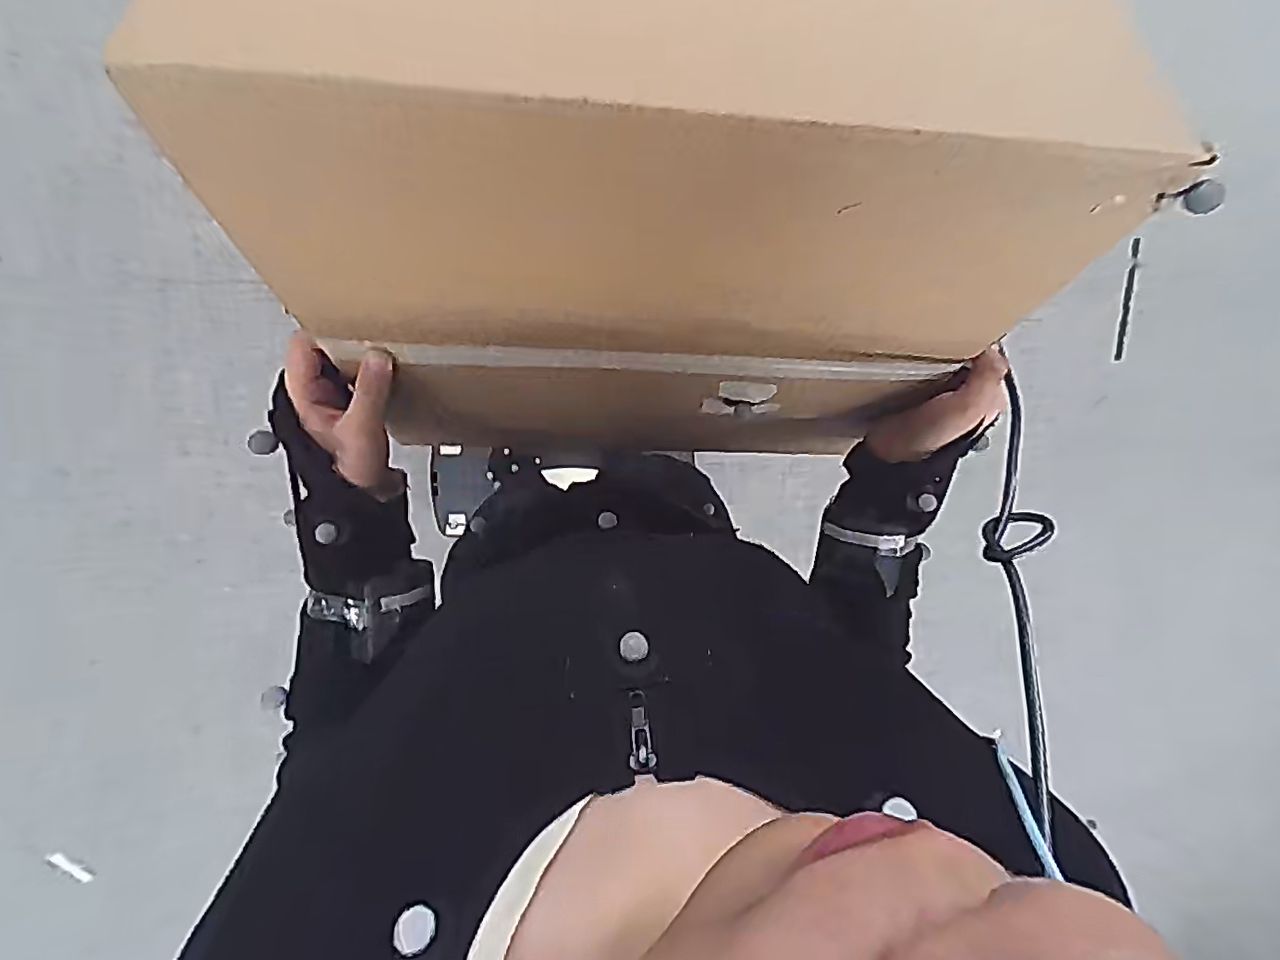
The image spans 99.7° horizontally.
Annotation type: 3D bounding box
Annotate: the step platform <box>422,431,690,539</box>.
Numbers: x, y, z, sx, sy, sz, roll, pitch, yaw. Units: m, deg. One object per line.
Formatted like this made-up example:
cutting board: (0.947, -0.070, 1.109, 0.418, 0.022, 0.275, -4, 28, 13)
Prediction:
step platform: (-0.209, -0.008, 1.428, 0.684, 0.204, 0.286, 4, 98, -11)

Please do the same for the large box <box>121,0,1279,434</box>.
large box: (0.022, -0.232, 0.363, 0.408, 0.320, 0.320, 0, 72, -6)
